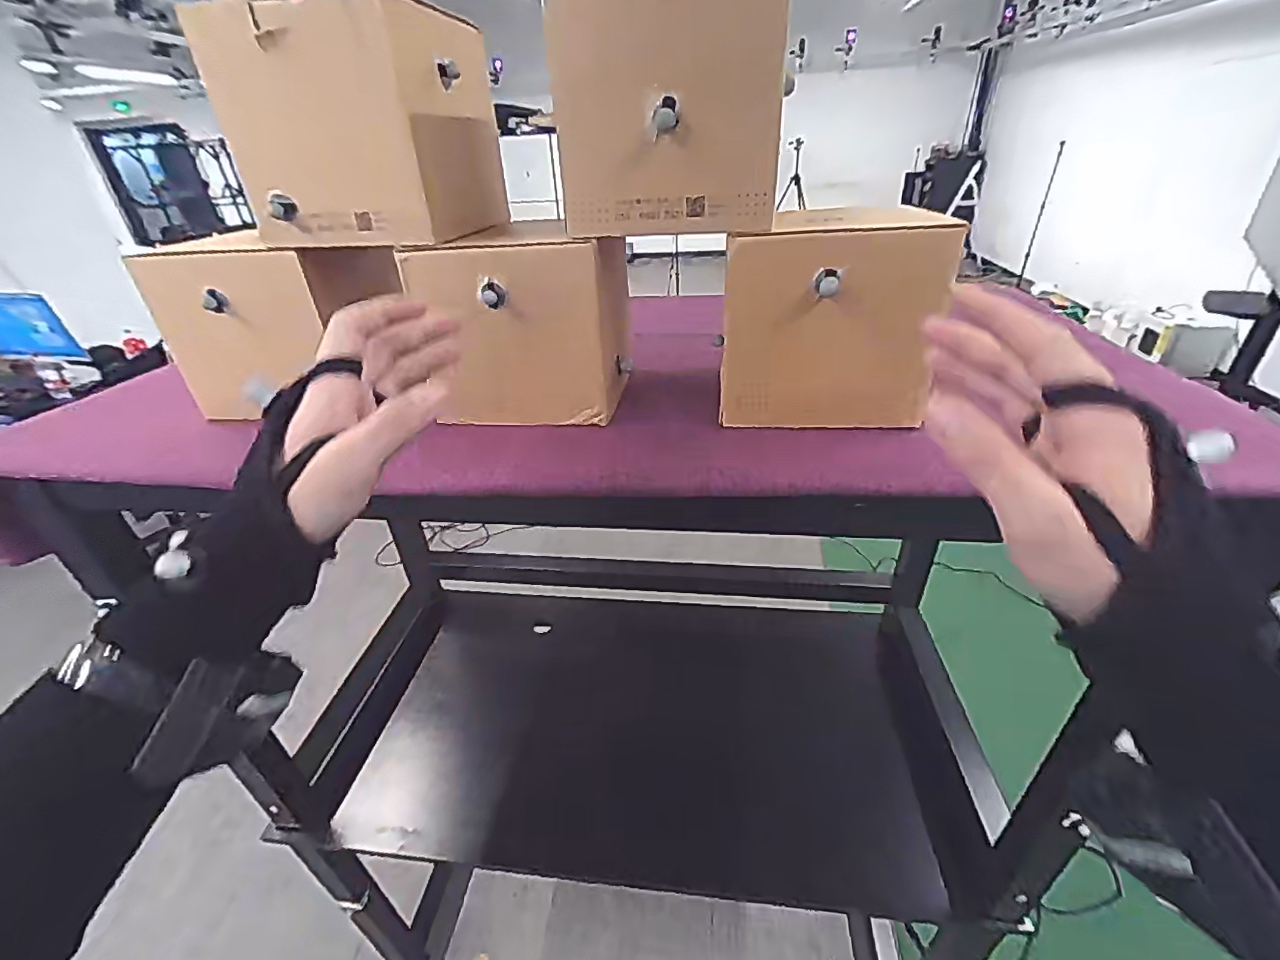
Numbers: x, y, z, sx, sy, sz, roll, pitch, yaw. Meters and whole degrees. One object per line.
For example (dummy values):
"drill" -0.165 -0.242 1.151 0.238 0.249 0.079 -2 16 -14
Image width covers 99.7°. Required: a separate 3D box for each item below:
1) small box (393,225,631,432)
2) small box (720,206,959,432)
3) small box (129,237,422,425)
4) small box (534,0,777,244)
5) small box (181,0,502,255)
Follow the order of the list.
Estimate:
"small box" -0.110 -0.157 0.552 0.179 0.176 0.168 1 32 8
"small box" 0.166 -0.154 0.516 0.179 0.176 0.168 0 31 9
"small box" -0.374 -0.168 0.596 0.179 0.176 0.168 0 33 7
"small box" 0.025 -0.300 0.458 0.168 0.176 0.179 1 32 8
"small box" -0.241 -0.307 0.495 0.168 0.176 0.179 3 32 9
